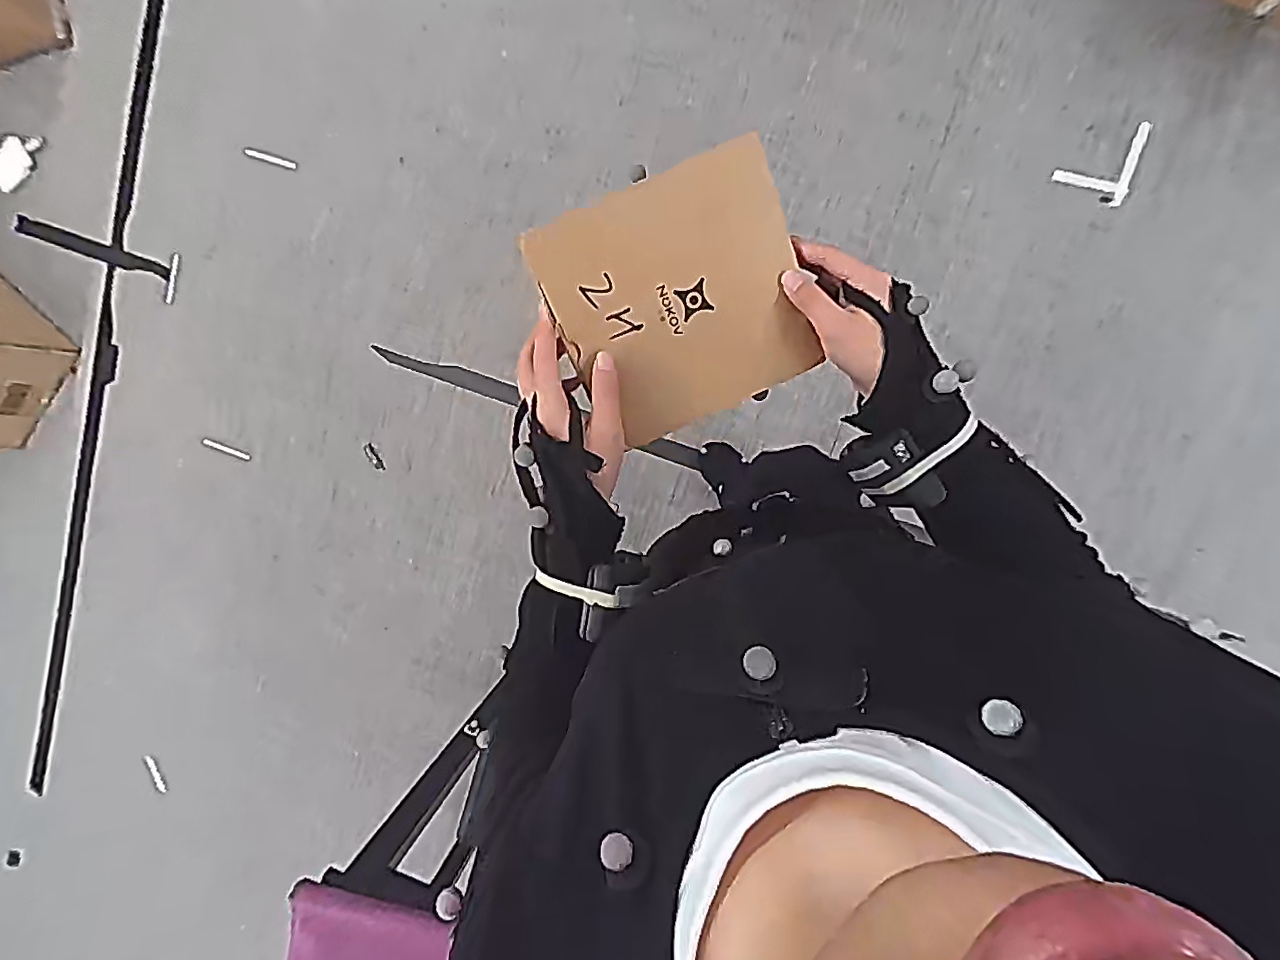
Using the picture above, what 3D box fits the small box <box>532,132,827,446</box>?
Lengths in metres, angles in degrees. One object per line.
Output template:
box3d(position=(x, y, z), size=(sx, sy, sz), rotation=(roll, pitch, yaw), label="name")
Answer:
box3d(position=(0.024, -0.153, 0.456), size=(0.179, 0.176, 0.168), rotation=(-23, 109, 1), label="small box")
